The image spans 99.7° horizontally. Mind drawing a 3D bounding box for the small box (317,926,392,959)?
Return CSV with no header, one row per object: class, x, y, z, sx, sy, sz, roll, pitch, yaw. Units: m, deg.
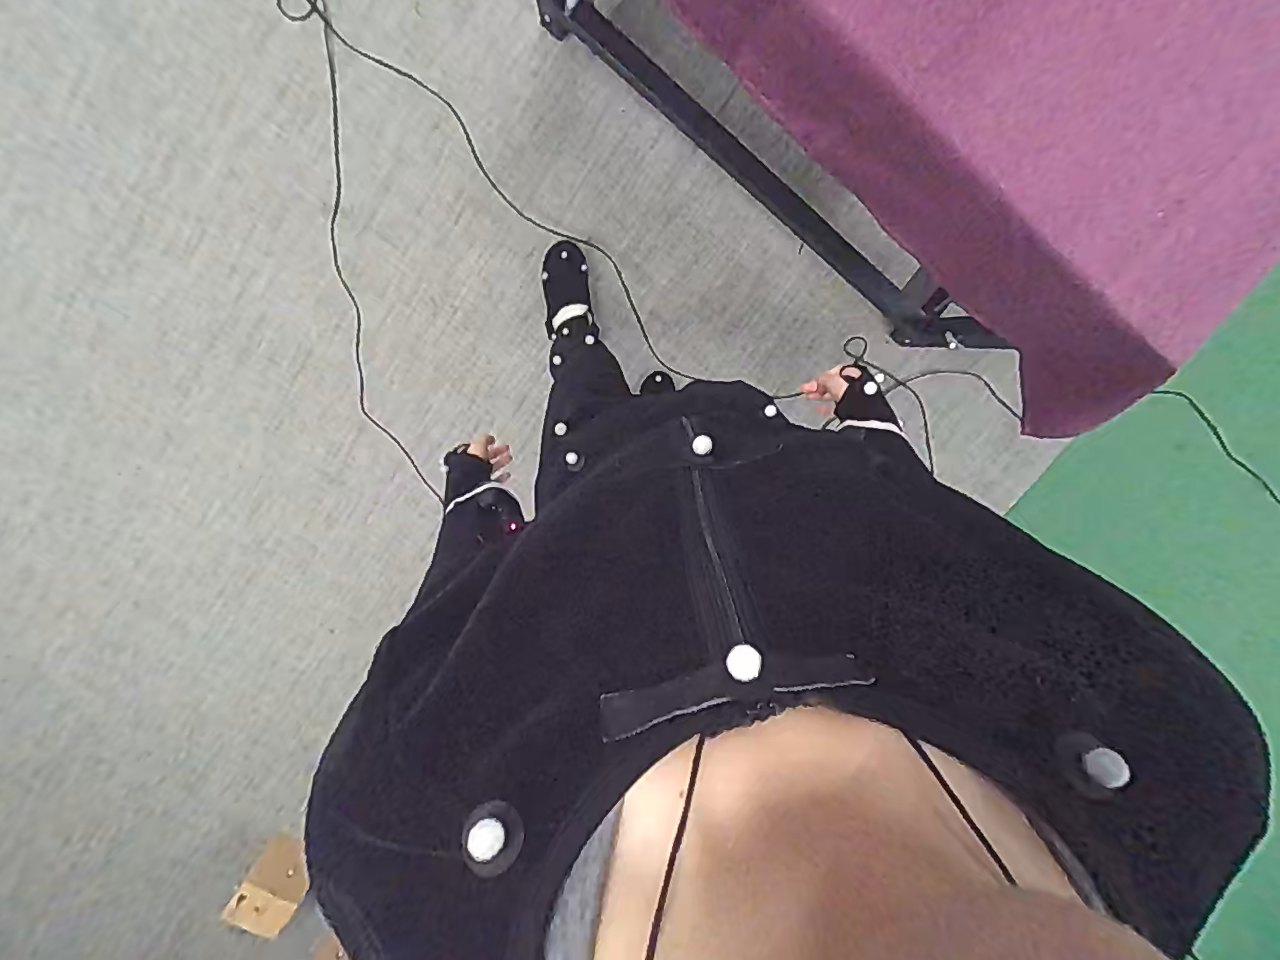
small box,-0.863,1.454,1.573,0.179,0.176,0.168,31,100,-11
